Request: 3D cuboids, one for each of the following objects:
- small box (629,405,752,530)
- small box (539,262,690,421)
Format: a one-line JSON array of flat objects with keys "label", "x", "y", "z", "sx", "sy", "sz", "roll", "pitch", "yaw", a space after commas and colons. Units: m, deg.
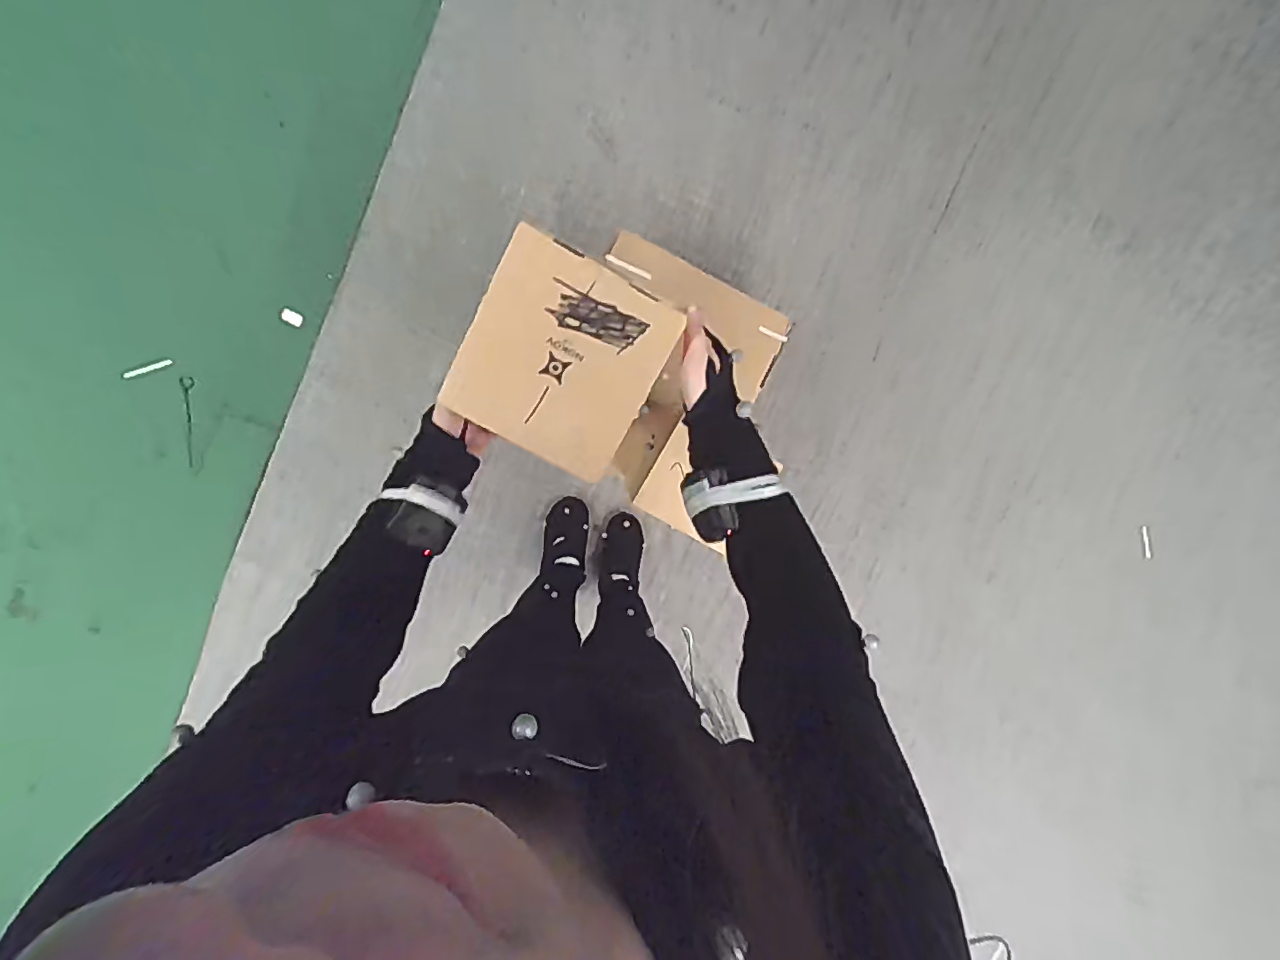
[{"label": "small box", "x": 0.086, "y": -0.028, "z": 1.048, "sx": 0.168, "sy": 0.176, "sz": 0.179, "roll": 29, "pitch": 92, "yaw": -6}, {"label": "small box", "x": -0.043, "y": -0.208, "z": 0.859, "sx": 0.168, "sy": 0.176, "sz": 0.179, "roll": 27, "pitch": 95, "yaw": -6}]
